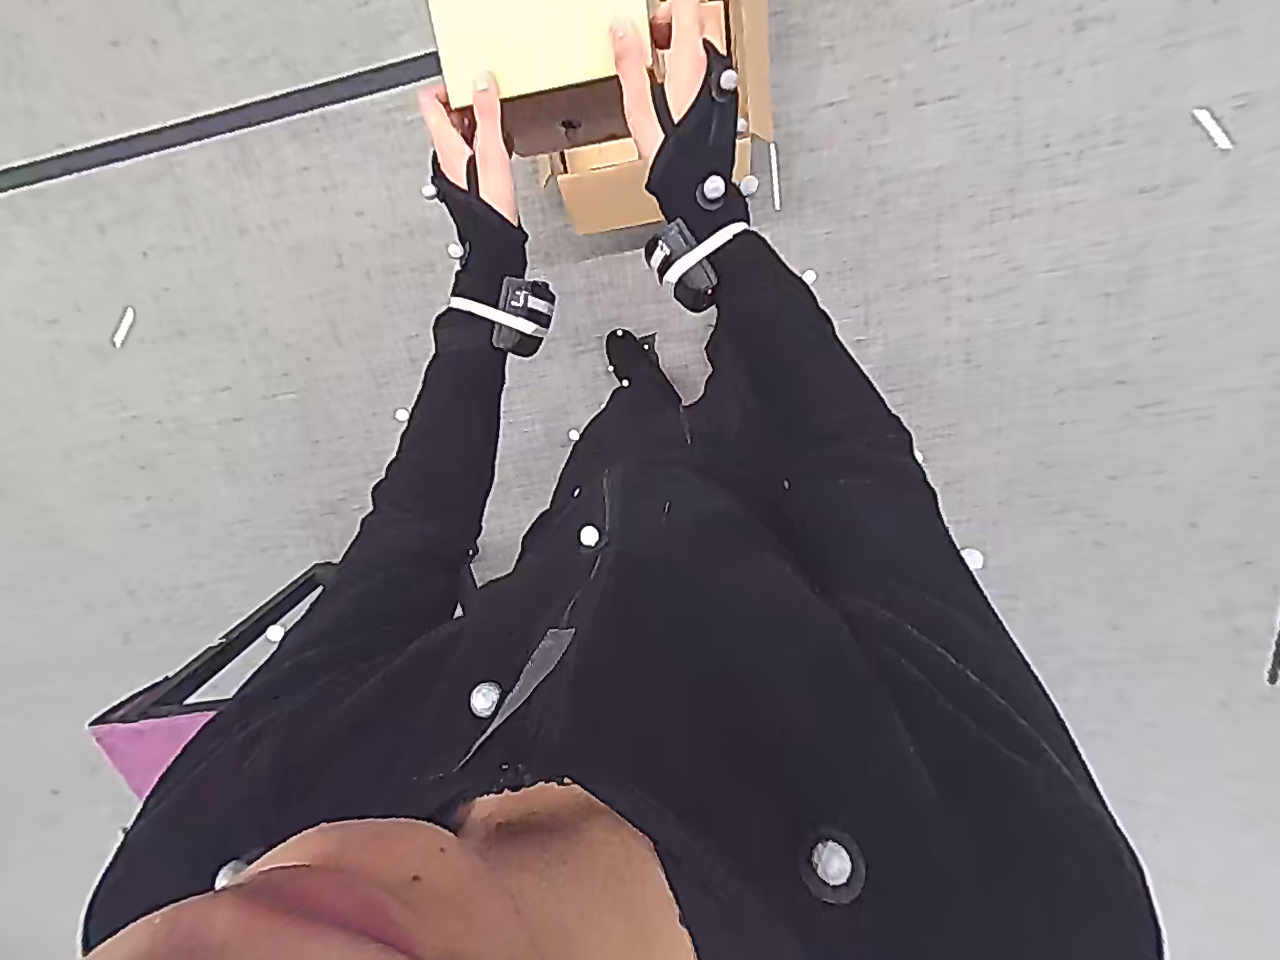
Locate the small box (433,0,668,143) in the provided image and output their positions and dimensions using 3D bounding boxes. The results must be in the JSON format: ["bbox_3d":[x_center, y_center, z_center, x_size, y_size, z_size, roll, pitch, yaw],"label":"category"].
[{"bbox_3d":[-0.069,-0.413,0.467,0.168,0.176,0.179,-5,108,9],"label":"small box"}]
